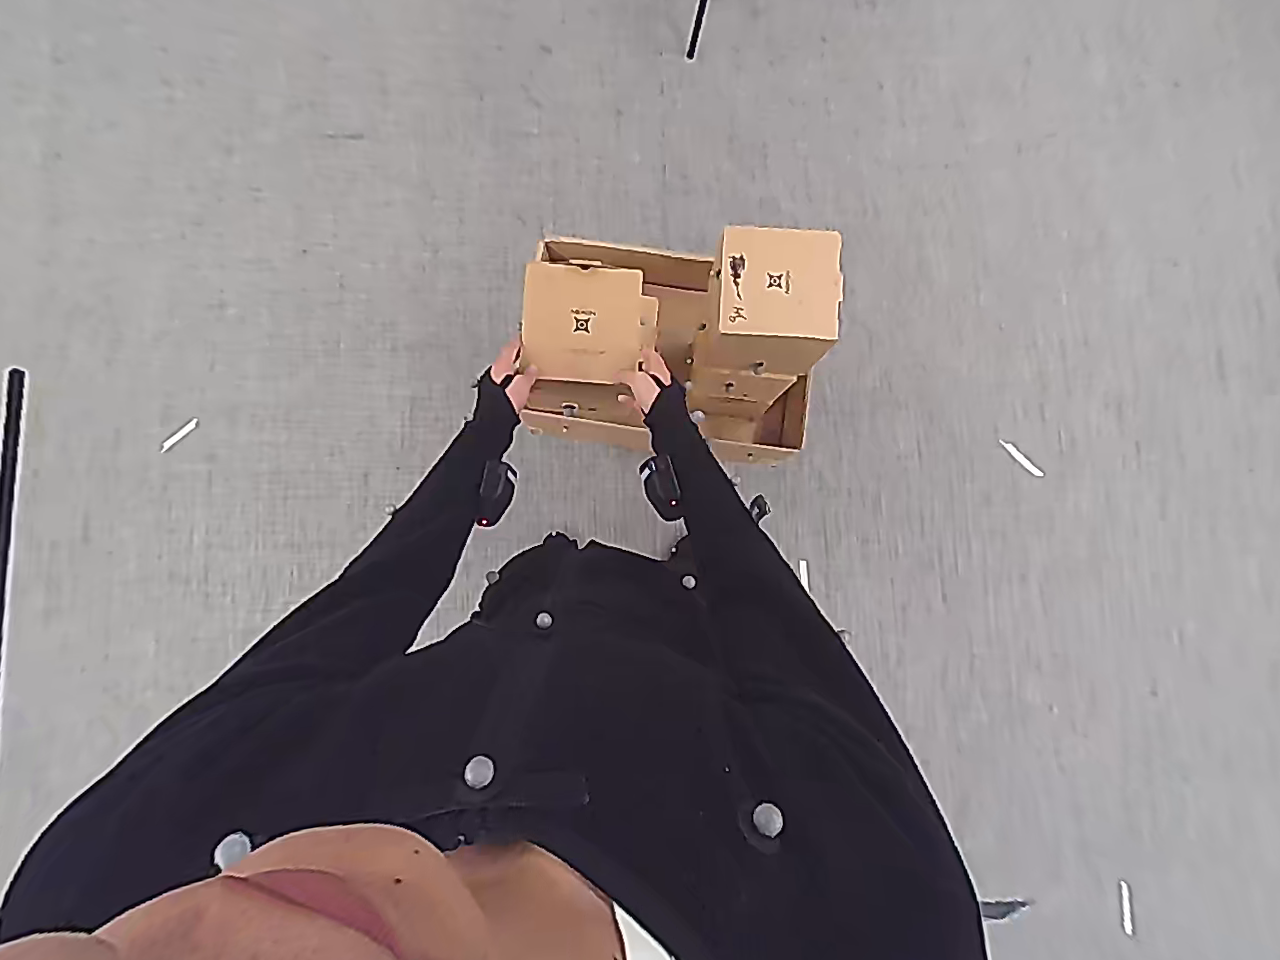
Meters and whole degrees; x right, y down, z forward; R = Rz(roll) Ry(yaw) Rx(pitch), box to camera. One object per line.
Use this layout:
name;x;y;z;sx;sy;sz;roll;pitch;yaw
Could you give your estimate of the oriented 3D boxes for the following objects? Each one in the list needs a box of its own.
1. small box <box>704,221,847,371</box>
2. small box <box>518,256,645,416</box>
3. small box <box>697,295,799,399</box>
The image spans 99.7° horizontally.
small box;0.204;-0.276;0.848;0.179;0.176;0.168;4;84;0
small box;-0.087;-0.208;0.817;0.168;0.176;0.179;3;81;-5
small box;0.201;-0.258;1.011;0.168;0.176;0.179;6;84;1
